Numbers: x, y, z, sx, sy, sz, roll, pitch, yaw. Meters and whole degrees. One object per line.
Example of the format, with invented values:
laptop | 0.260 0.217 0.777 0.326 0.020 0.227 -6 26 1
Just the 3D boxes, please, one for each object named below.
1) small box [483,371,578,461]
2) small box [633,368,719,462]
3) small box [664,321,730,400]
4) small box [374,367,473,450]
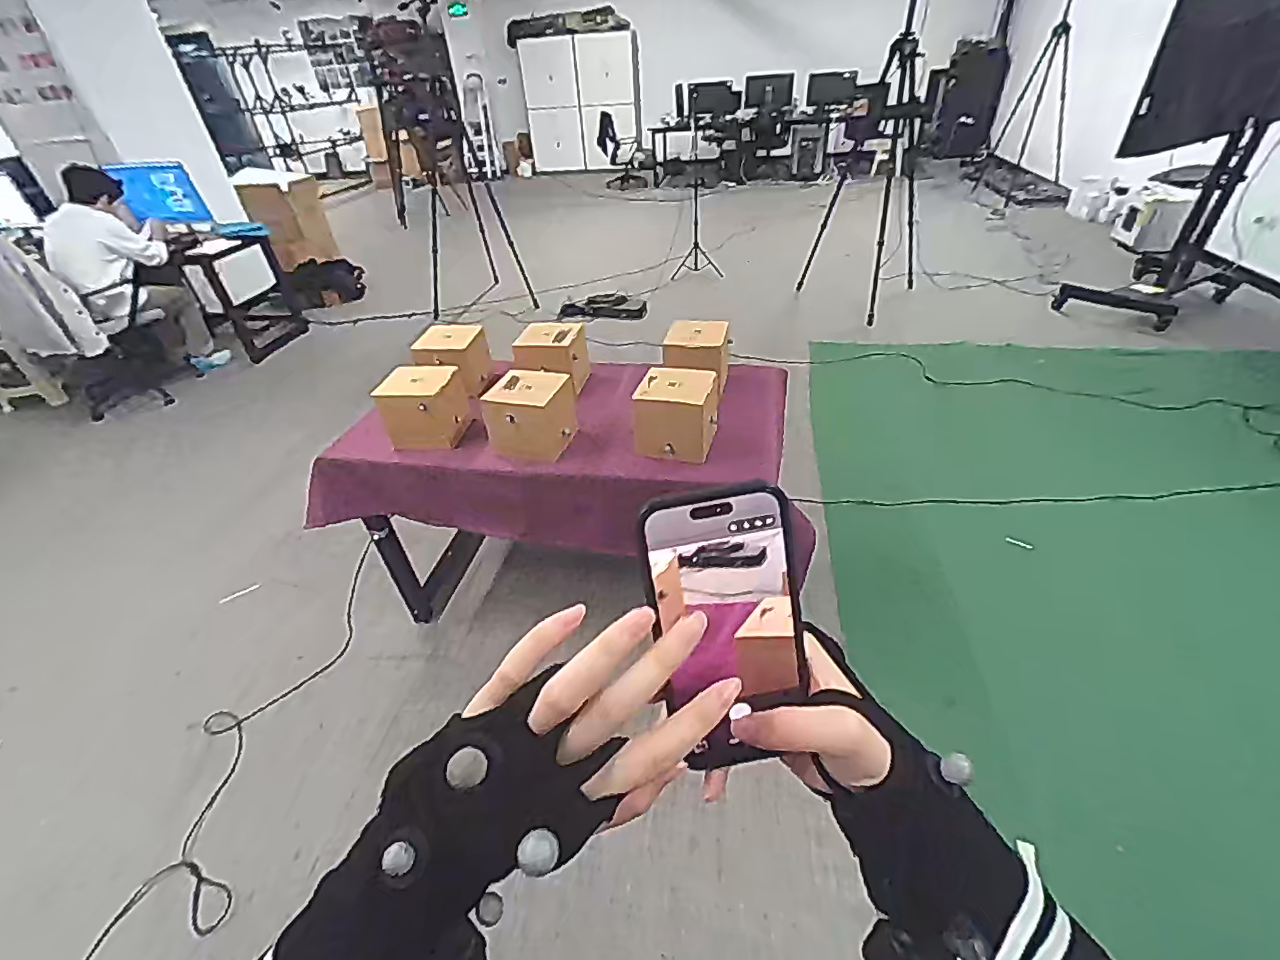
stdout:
small box | -0.275 -0.165 1.398 0.179 0.176 0.168 8 40 15
small box | 0.093 -0.162 1.354 0.179 0.176 0.168 9 39 16
small box | 0.169 -0.353 1.591 0.168 0.176 0.179 6 40 14
small box | -0.579 -0.194 1.469 0.179 0.176 0.168 1 38 5
